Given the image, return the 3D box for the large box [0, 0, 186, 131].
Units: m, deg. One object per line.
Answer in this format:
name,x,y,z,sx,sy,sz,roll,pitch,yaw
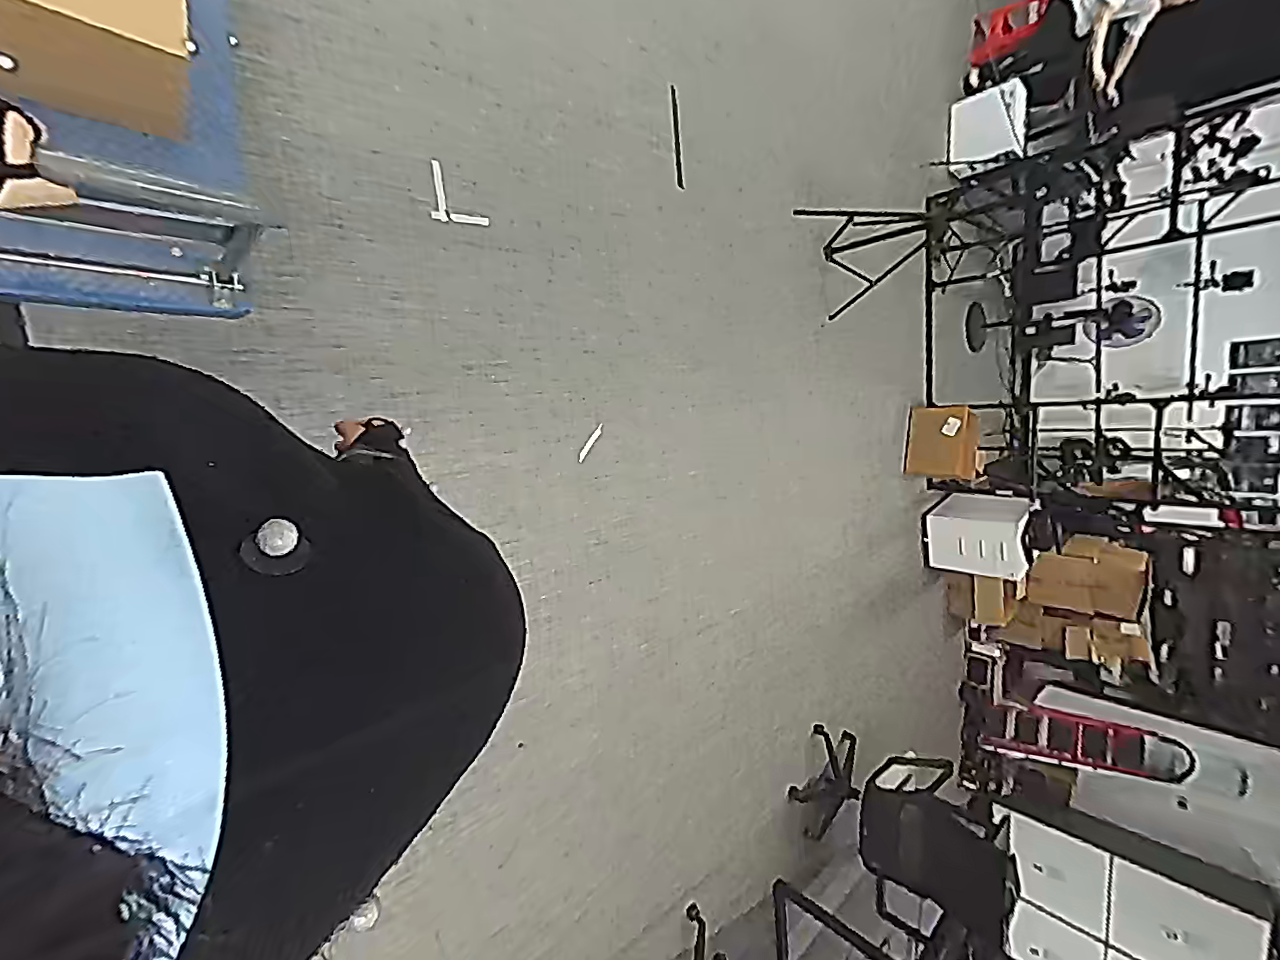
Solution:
large box,-0.911,-0.773,0.757,0.408,0.320,0.320,-4,95,-41
